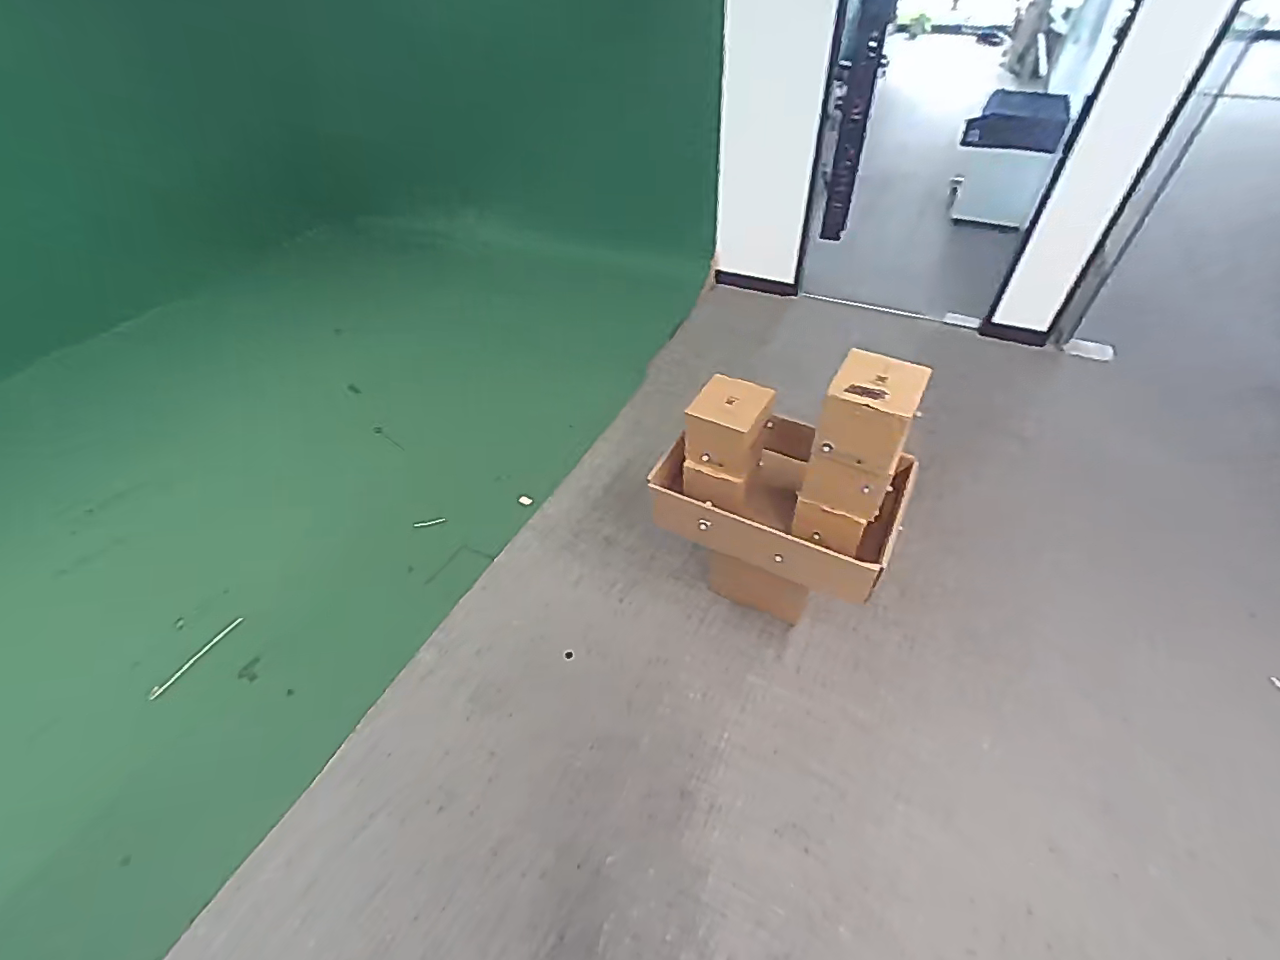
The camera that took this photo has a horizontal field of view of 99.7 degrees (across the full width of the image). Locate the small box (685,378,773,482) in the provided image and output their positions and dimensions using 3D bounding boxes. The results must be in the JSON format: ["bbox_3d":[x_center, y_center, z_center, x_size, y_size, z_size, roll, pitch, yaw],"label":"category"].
[{"bbox_3d":[0.224,-0.129,1.390,0.168,0.176,0.179,22,53,24],"label":"small box"}]

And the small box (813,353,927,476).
[{"bbox_3d":[0.482,-0.137,1.153,0.168,0.176,0.179,23,53,22],"label":"small box"}]
